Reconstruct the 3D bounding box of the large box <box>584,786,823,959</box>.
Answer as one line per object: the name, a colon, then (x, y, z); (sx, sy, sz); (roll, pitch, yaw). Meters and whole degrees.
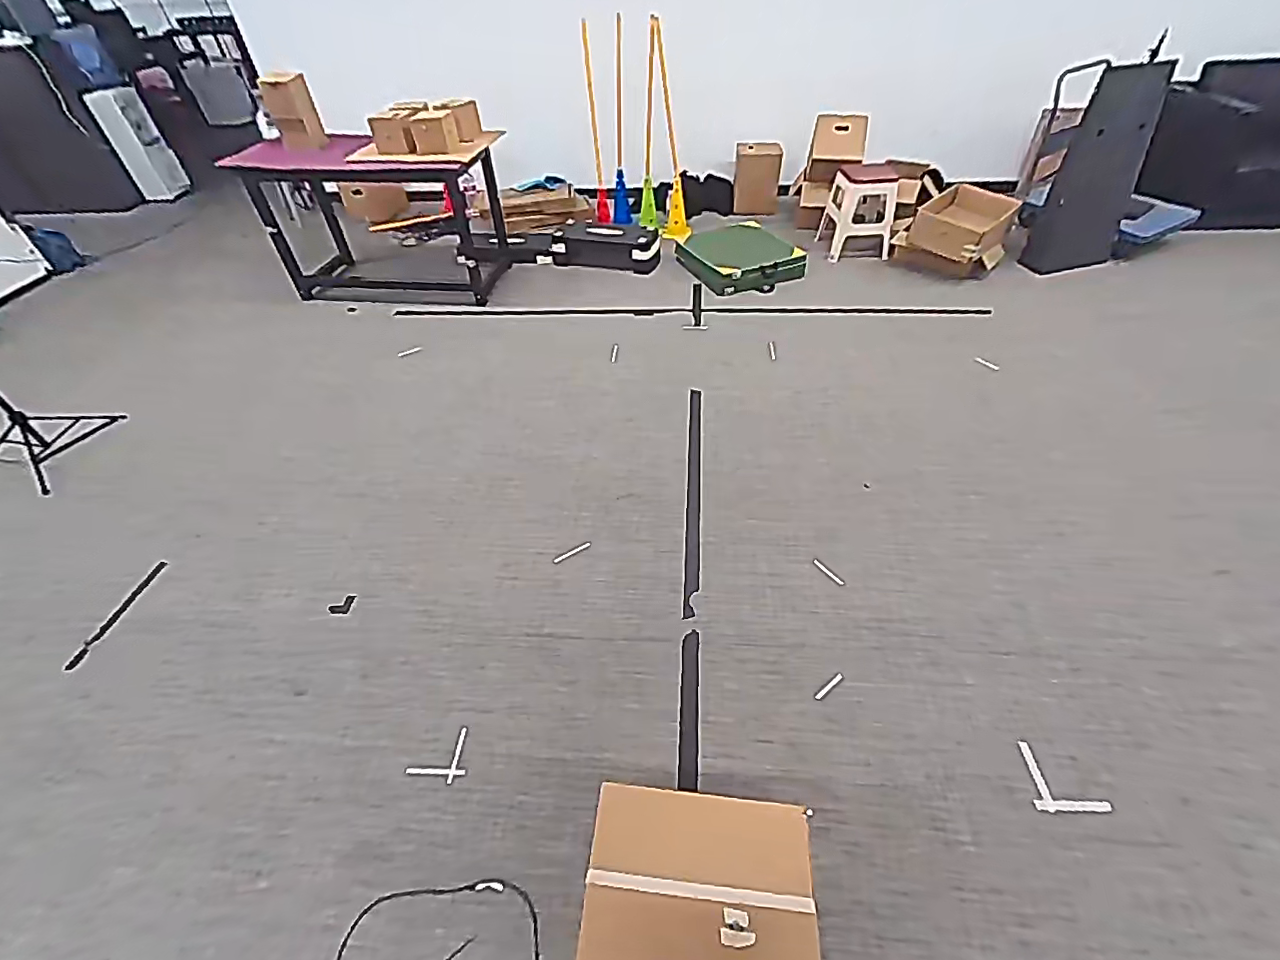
large box: (0.117, 0.842, 1.070); (0.408, 0.320, 0.320); (4, 45, 6)
